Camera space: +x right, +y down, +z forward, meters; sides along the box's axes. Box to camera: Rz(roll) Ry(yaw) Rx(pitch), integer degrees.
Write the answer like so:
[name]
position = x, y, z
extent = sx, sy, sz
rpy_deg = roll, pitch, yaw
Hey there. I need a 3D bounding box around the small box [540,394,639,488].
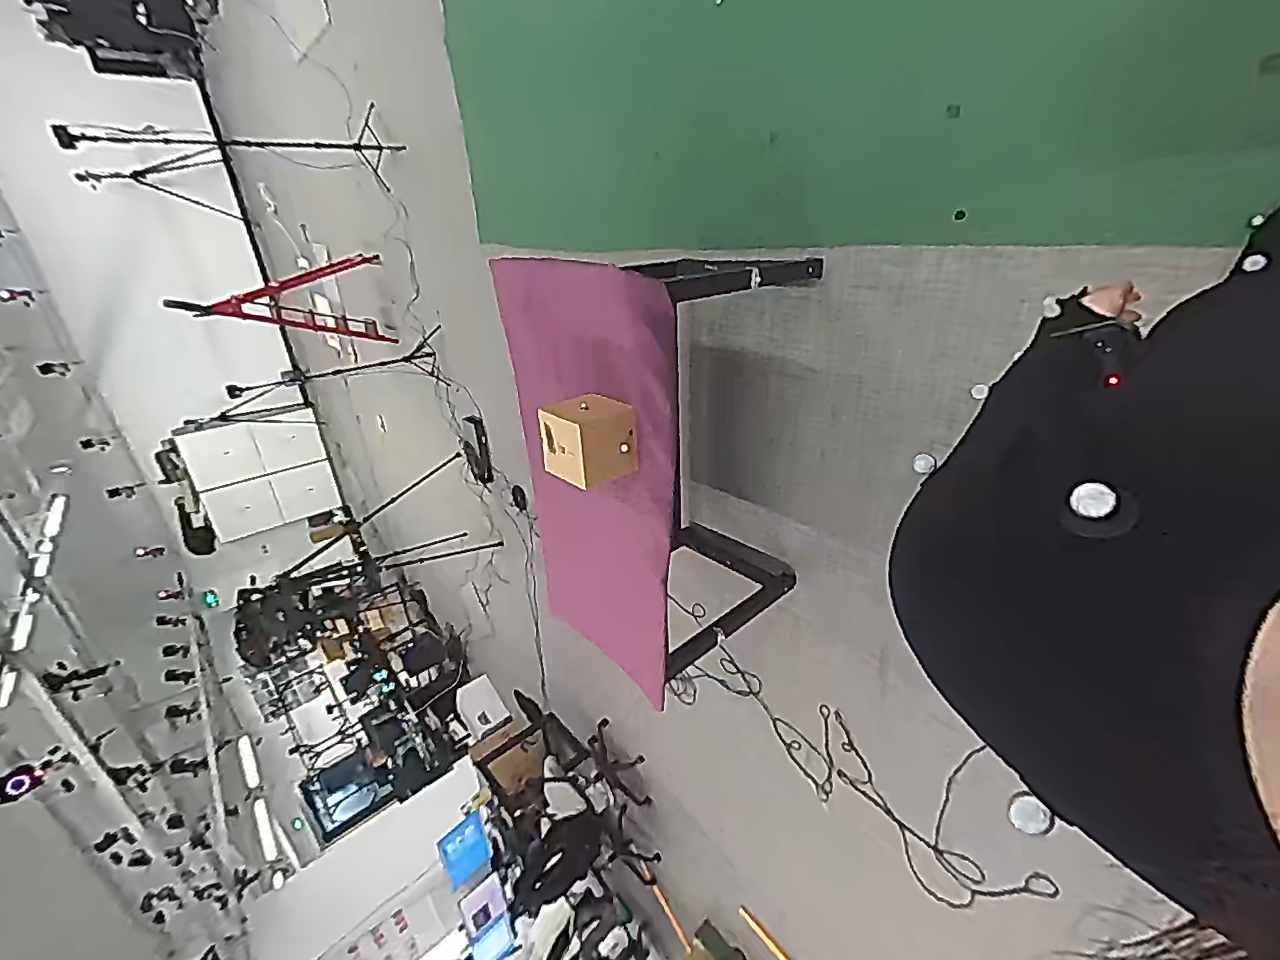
[small box]
position = -0.120, -0.103, 1.317
extent = 0.179, 0.176, 0.168
rpy_deg = 24, 127, 44
